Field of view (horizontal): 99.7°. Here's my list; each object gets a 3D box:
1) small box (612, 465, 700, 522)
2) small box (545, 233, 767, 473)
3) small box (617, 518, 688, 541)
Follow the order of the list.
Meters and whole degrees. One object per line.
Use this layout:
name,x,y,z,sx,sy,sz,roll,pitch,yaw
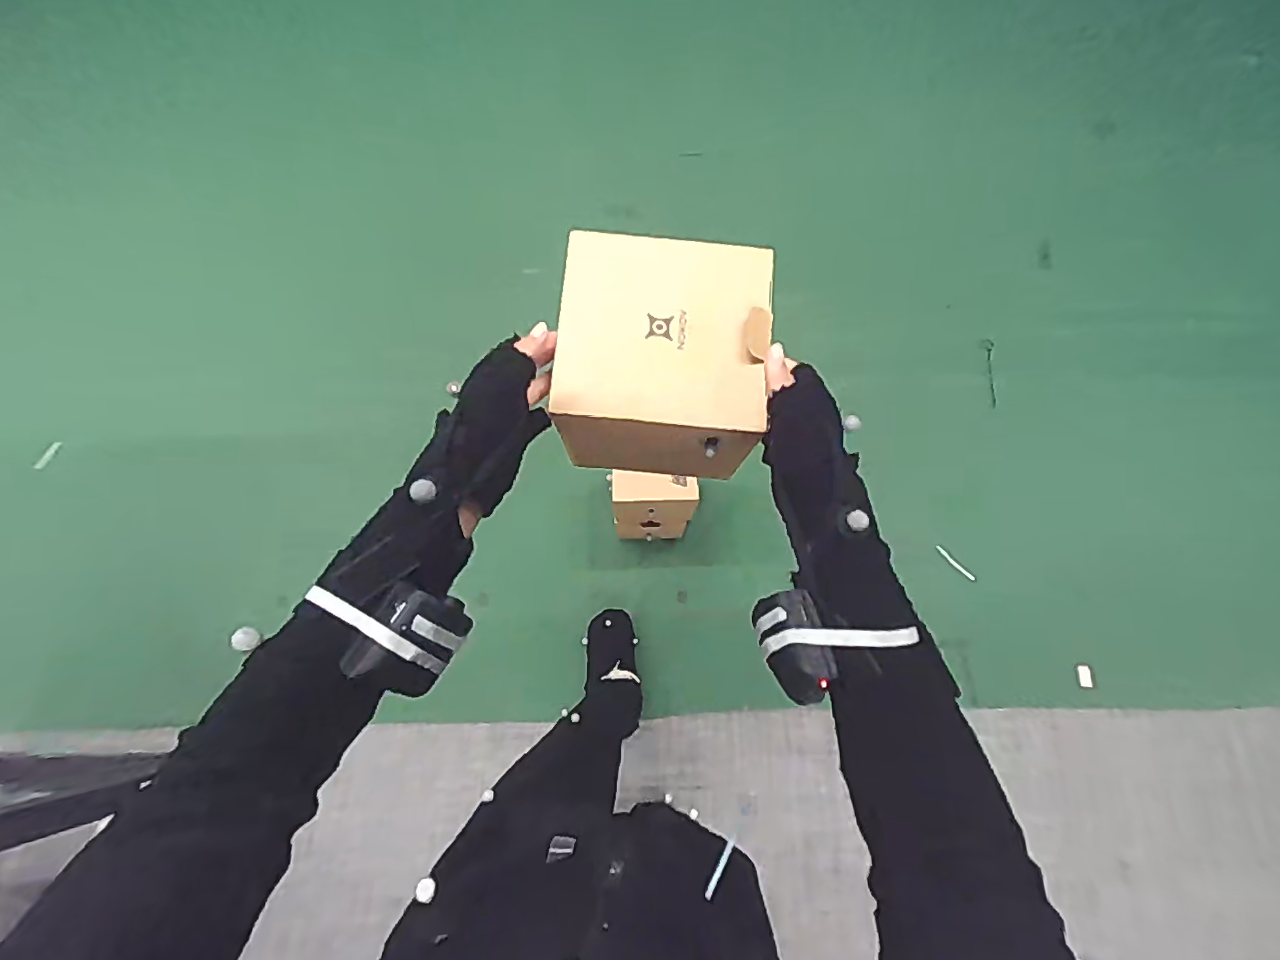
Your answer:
small box,0.033,-0.009,1.169,0.179,0.176,0.168,1,70,0
small box,0.015,-0.108,0.523,0.179,0.176,0.168,5,77,-1
small box,0.028,0.046,1.327,0.168,0.176,0.179,-1,72,0
